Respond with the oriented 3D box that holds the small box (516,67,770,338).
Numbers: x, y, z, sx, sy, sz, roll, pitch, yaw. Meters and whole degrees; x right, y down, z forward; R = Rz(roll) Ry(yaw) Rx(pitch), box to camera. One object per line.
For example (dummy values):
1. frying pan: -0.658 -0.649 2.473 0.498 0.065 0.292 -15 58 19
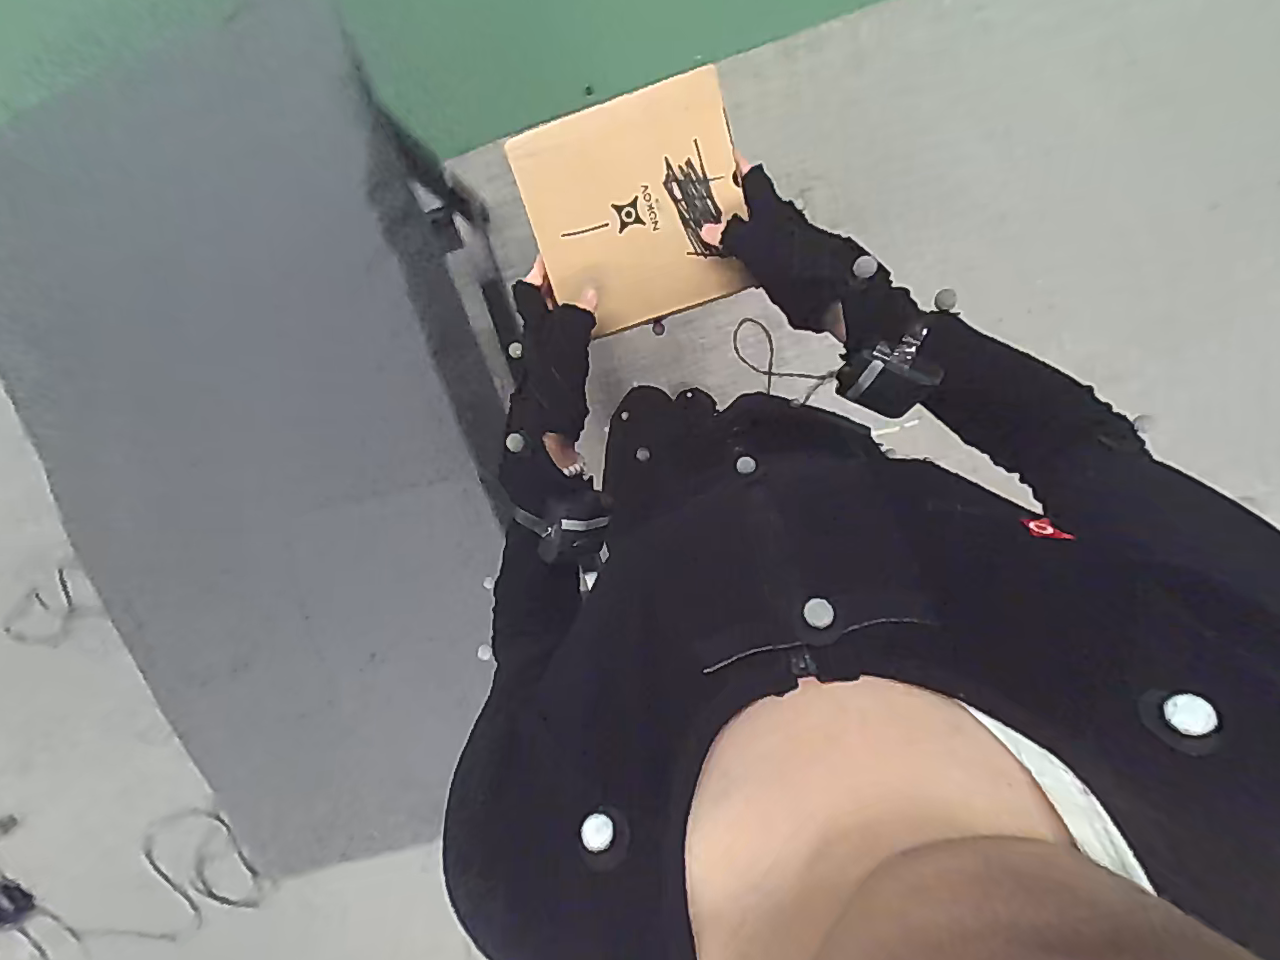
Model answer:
1. small box: 0.004 -0.241 0.514 0.179 0.176 0.168 -16 104 4
